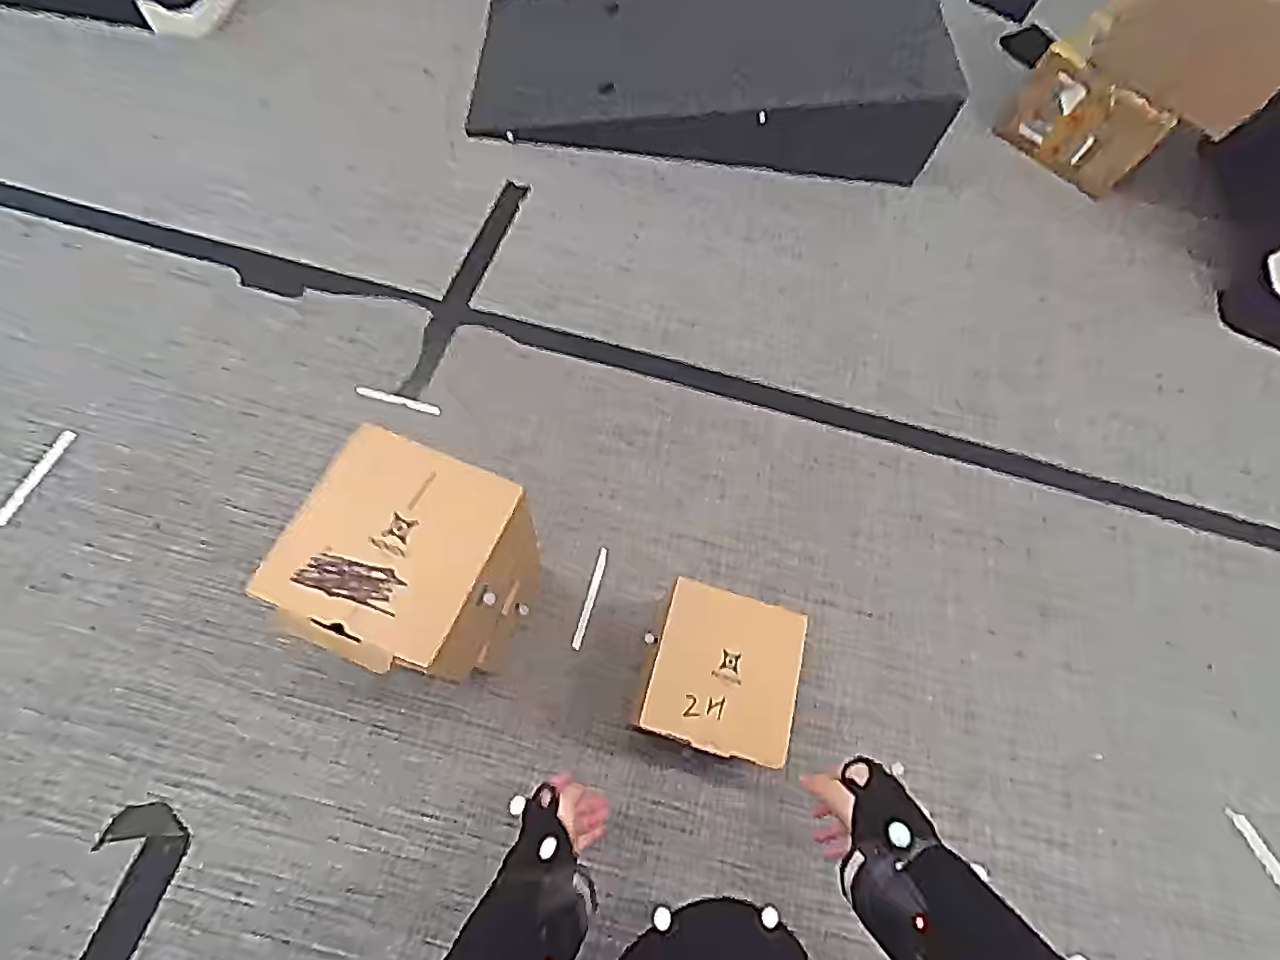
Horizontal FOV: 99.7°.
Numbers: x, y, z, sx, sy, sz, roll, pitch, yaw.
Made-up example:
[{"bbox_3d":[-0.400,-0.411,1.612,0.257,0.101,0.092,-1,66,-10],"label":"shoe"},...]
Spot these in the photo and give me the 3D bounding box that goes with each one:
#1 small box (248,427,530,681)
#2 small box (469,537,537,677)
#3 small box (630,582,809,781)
[{"bbox_3d":[-0.218,0.085,0.535,0.168,0.176,0.179,23,66,2],"label":"small box"},{"bbox_3d":[-0.240,0.142,0.688,0.179,0.176,0.168,19,66,0],"label":"small box"},{"bbox_3d":[0.091,0.252,0.683,0.168,0.176,0.179,18,66,1],"label":"small box"}]
